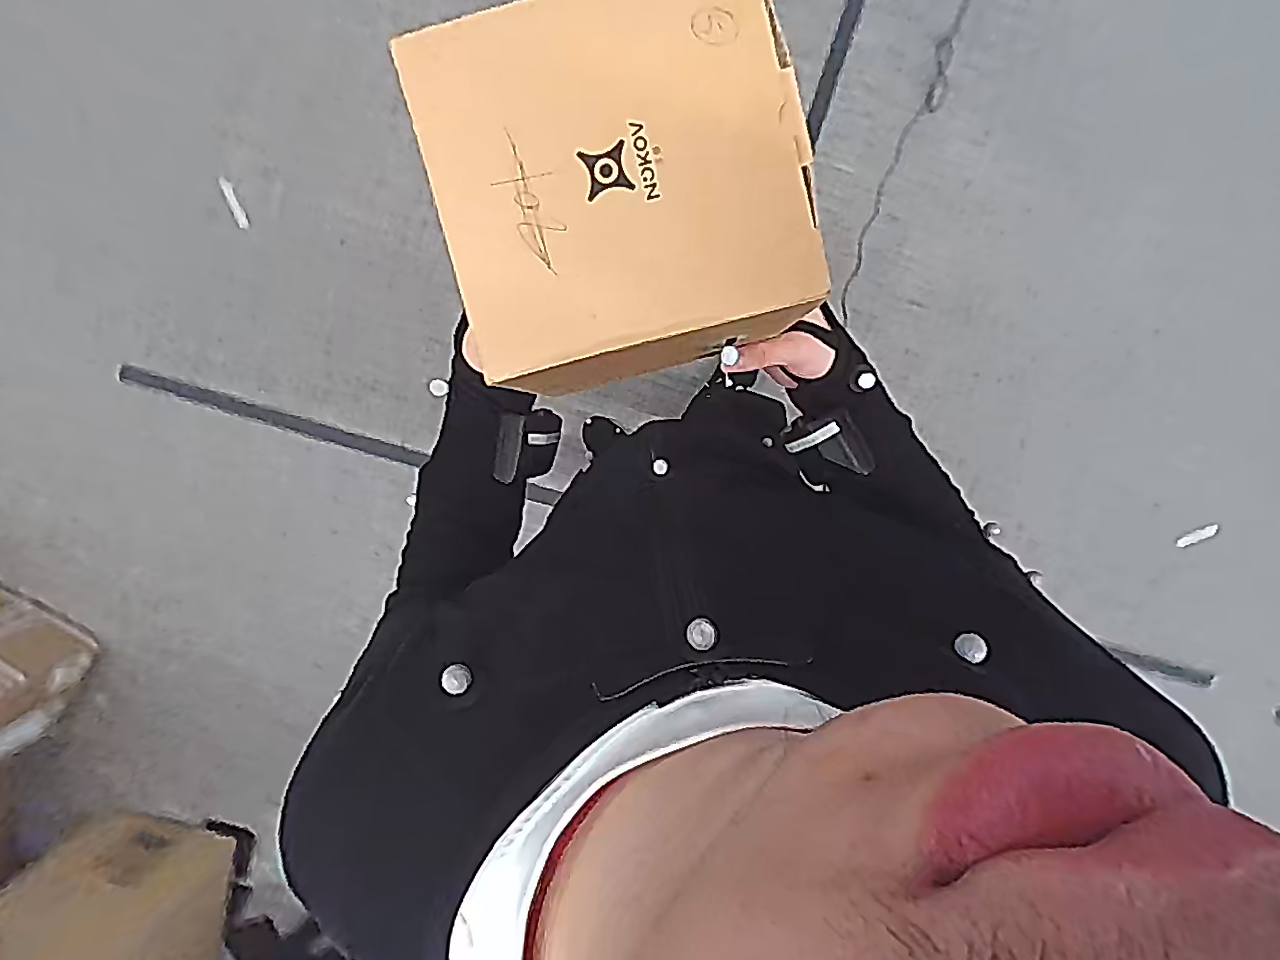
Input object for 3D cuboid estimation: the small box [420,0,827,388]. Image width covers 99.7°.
[{"bbox_3d":[-0.005,-0.161,0.347,0.179,0.176,0.168,-13,94,4],"label":"small box"}]
